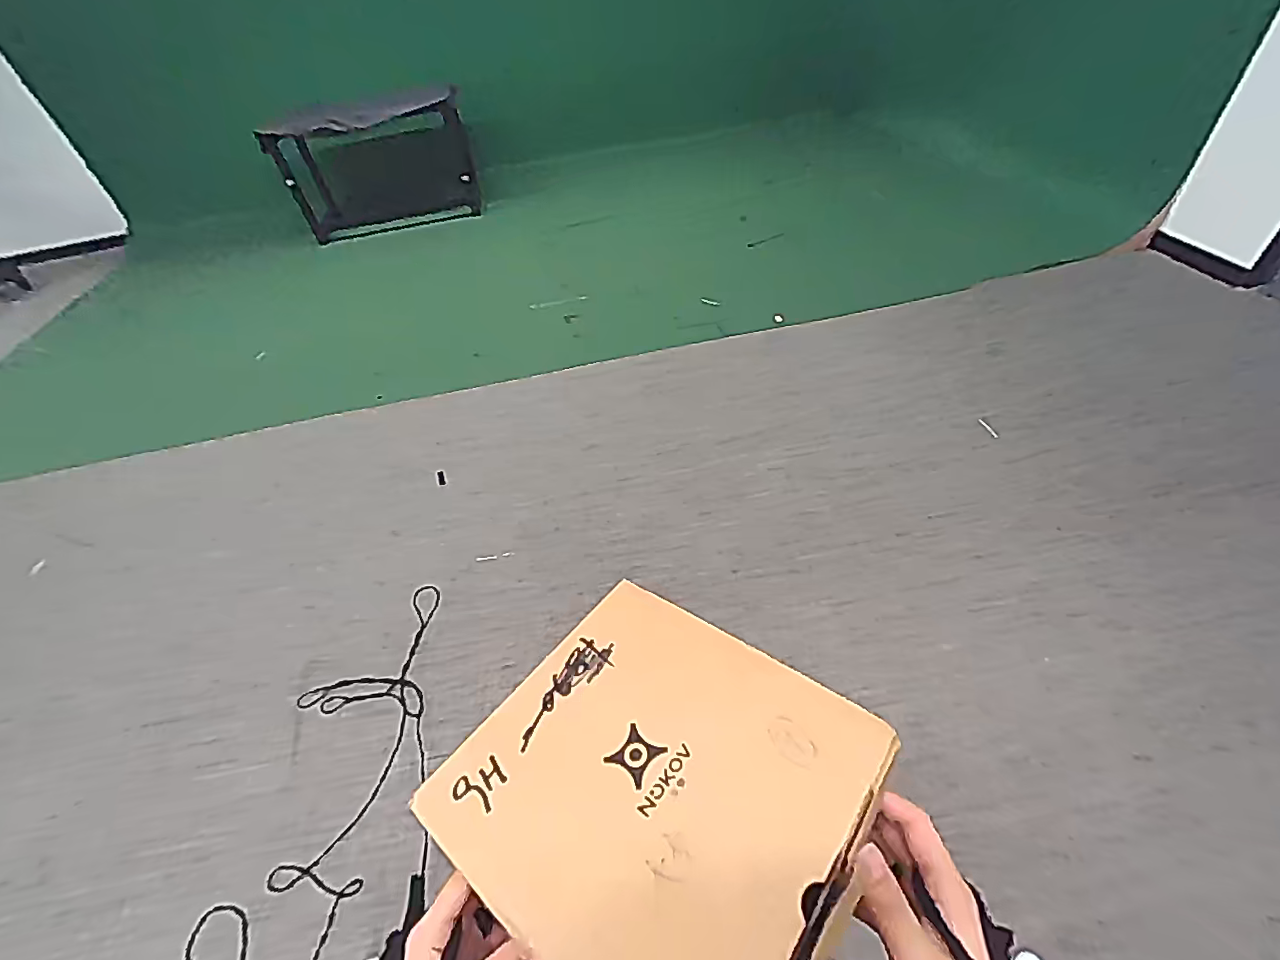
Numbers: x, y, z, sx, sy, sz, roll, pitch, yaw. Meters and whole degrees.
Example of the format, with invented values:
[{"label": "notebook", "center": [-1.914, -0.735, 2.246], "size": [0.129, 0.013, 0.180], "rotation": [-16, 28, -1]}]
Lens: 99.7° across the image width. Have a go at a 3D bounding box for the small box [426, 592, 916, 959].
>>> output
[{"label": "small box", "center": [0.022, 0.205, 0.306], "size": [0.179, 0.176, 0.168], "rotation": [24, 50, 35]}]
